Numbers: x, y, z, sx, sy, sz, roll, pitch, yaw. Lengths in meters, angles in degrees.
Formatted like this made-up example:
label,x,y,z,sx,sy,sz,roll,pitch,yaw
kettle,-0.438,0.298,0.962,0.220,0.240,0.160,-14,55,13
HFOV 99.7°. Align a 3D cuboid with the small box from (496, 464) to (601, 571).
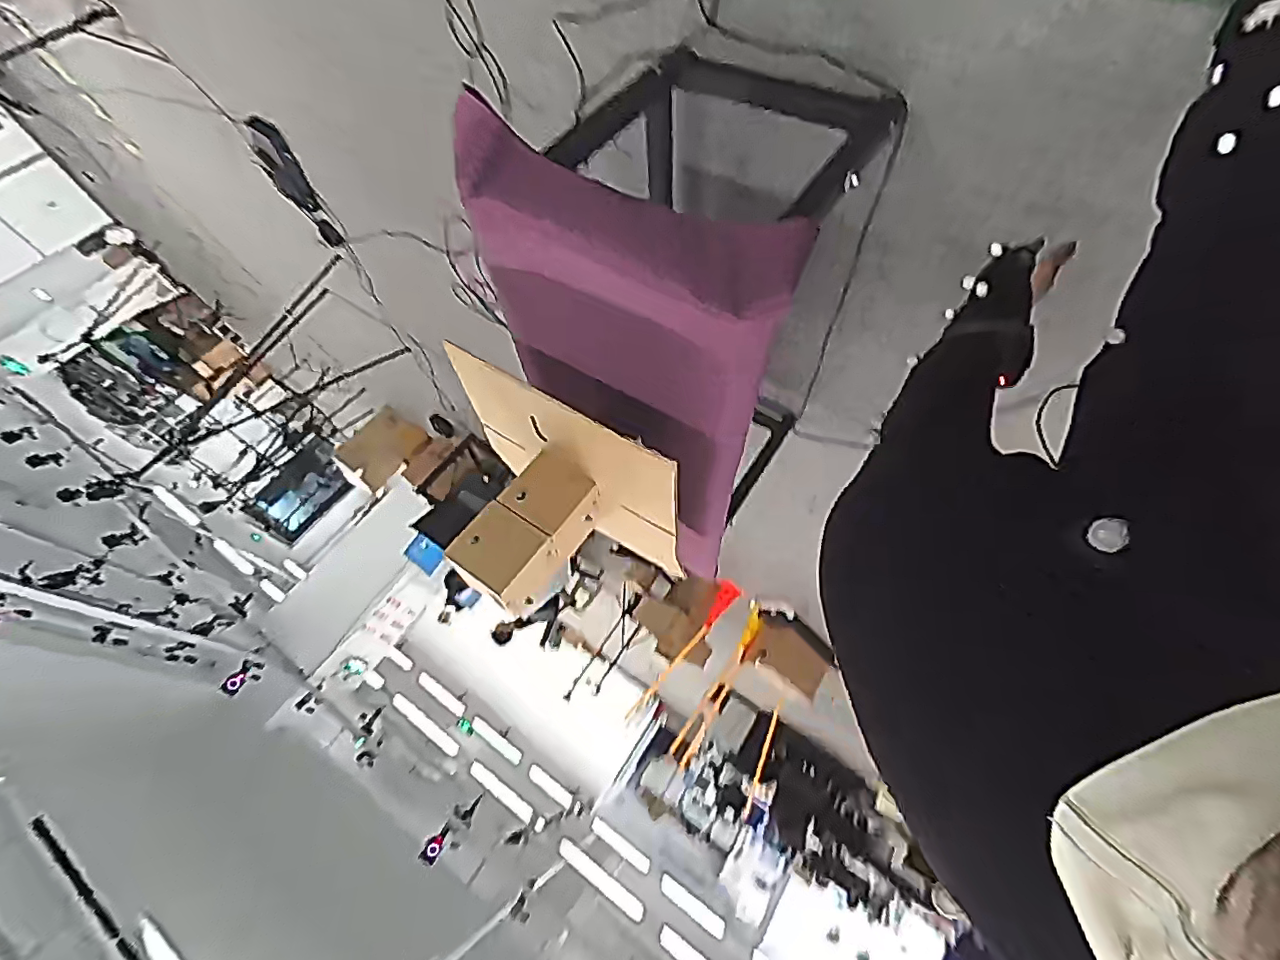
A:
label,x,y,z,sx,sy,sz,roll,pitch,yaw
small box,-0.216,0.085,1.318,0.179,0.176,0.168,29,153,19
